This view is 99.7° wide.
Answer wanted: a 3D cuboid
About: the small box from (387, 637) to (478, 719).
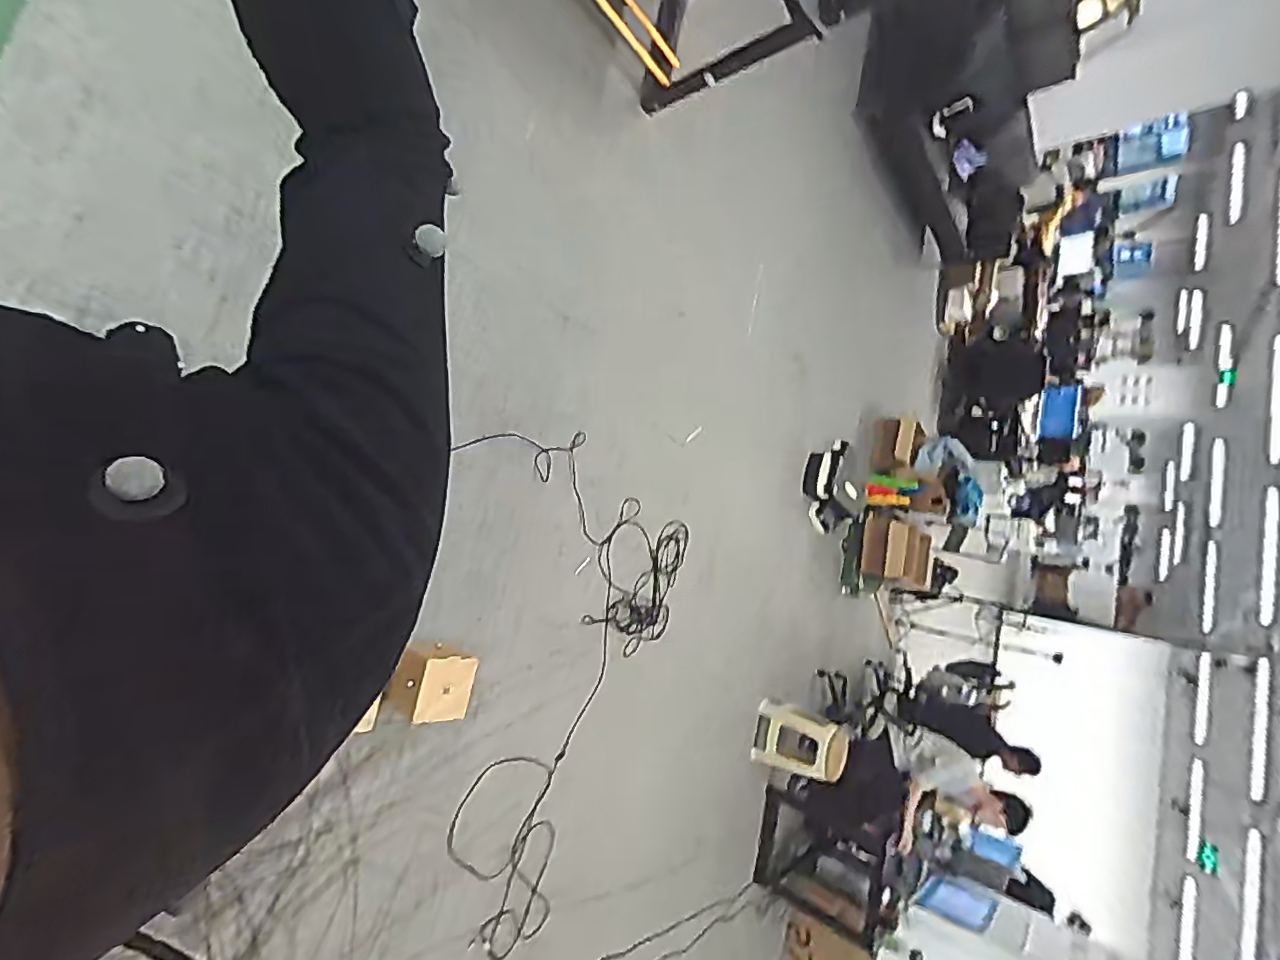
[{"bbox_3d":[-0.599,0.563,1.551,0.168,0.176,0.179,20,78,-48],"label":"small box"}]
